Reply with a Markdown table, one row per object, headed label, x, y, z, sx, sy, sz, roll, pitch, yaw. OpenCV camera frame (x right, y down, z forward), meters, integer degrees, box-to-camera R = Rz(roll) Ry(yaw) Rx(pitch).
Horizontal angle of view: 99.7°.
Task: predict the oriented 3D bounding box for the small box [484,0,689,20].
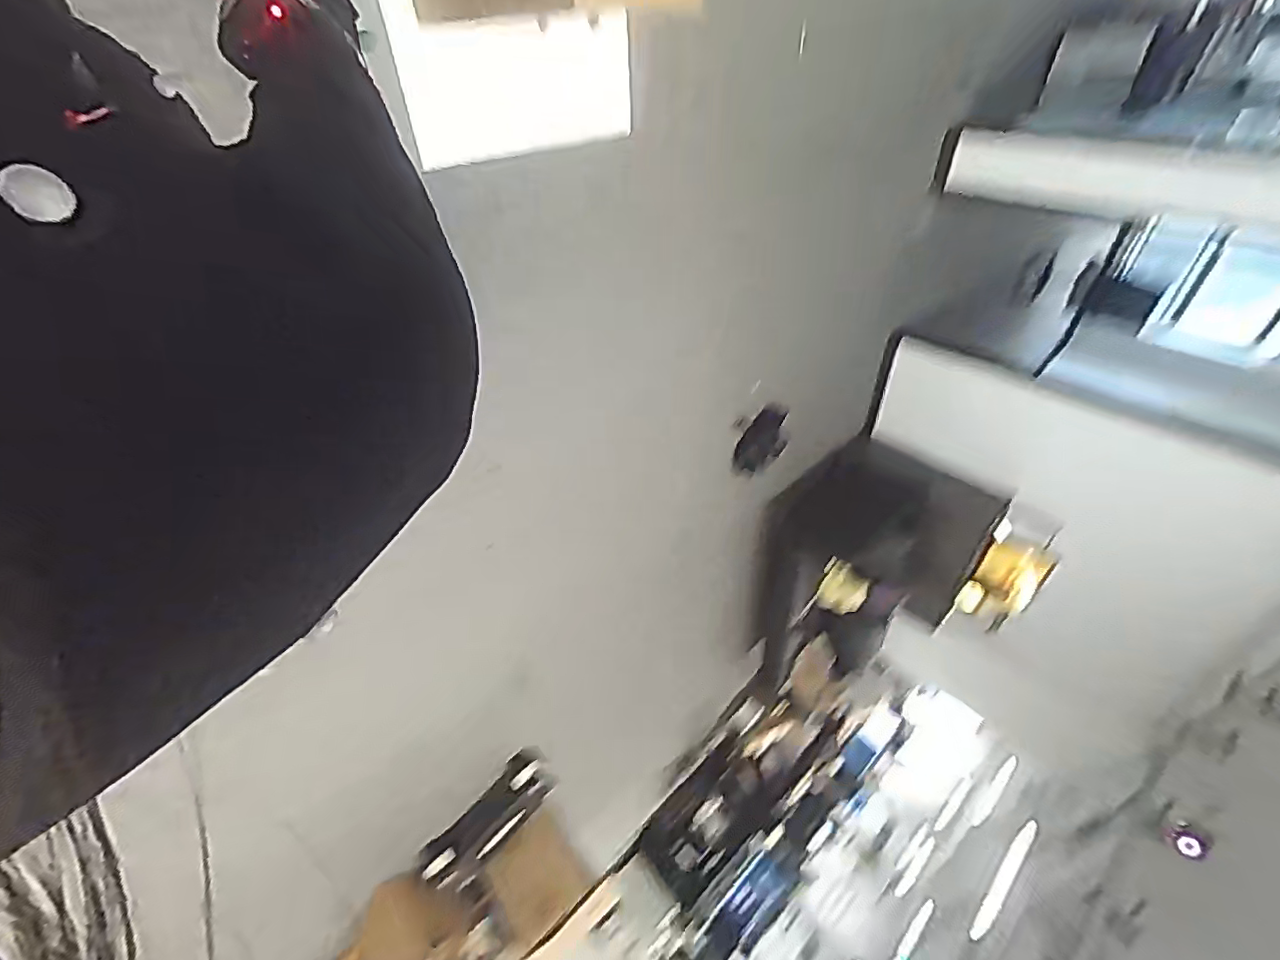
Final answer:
| label | x | y | z | sx | sy | sz | roll | pitch | yaw |
| --- | --- | --- | --- | --- | --- | --- | --- | --- | --- |
| small box | -0.052 | -0.560 | 0.519 | 0.179 | 0.176 | 0.168 | -36 | 140 | -27 |

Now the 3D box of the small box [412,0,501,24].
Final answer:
| label | x | y | z | sx | sy | sz | roll | pitch | yaw |
| --- | --- | --- | --- | --- | --- | --- | --- | --- | --- |
| small box | -0.164 | -0.634 | 0.614 | 0.179 | 0.176 | 0.168 | -33 | 138 | -26 |
